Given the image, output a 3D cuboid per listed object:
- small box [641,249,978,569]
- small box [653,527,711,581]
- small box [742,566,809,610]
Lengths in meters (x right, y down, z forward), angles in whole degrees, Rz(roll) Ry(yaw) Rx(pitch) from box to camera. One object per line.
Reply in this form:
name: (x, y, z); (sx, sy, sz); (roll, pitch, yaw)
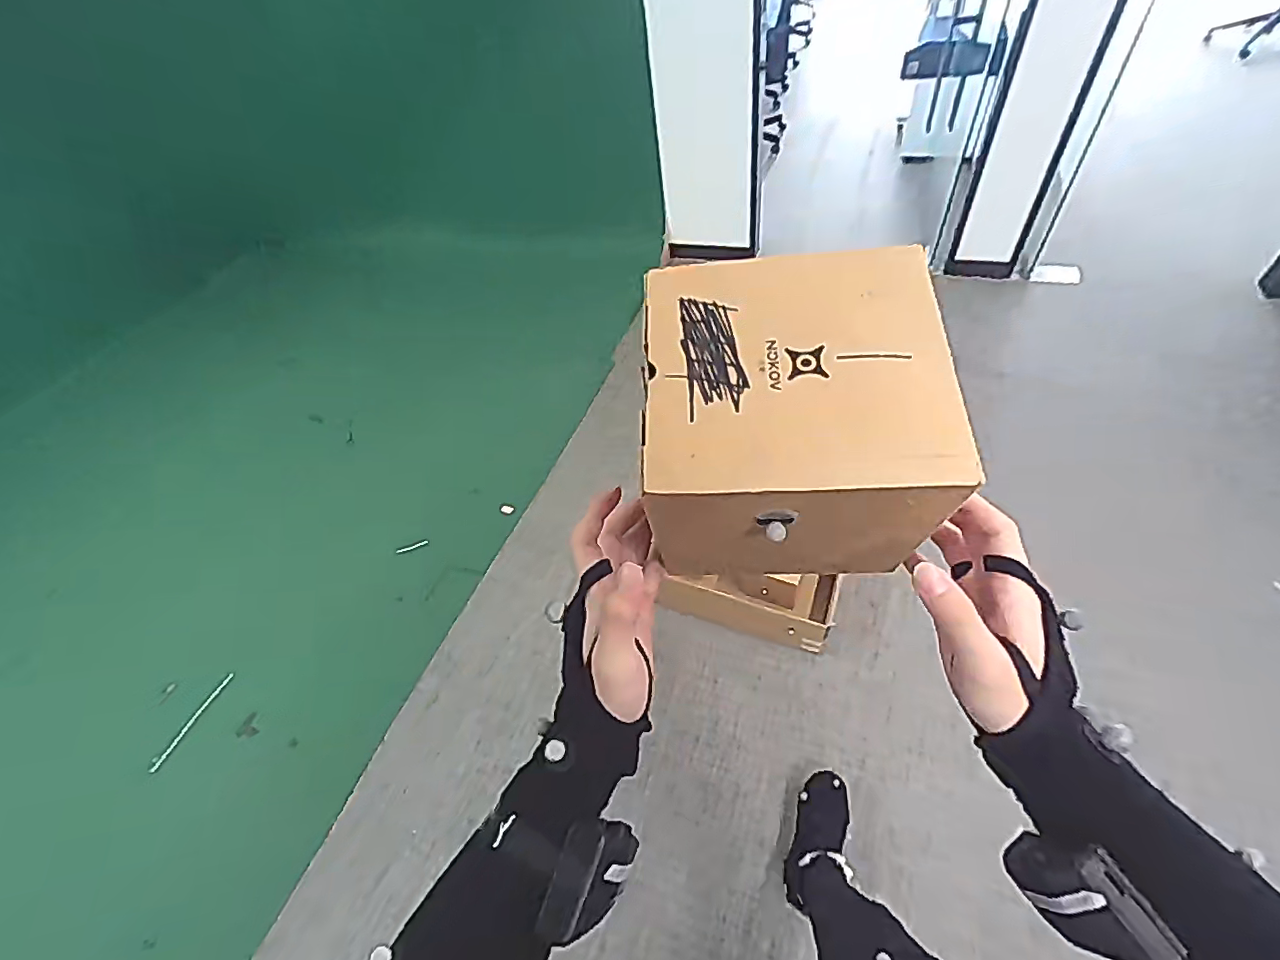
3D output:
small box: (0.100, -0.036, 0.390); (0.179, 0.176, 0.168); (-1, 65, 7)
small box: (0.157, 0.196, 1.721); (0.168, 0.176, 0.179); (15, 55, 20)
small box: (0.413, 0.262, 1.621); (0.168, 0.176, 0.179); (16, 56, 22)
